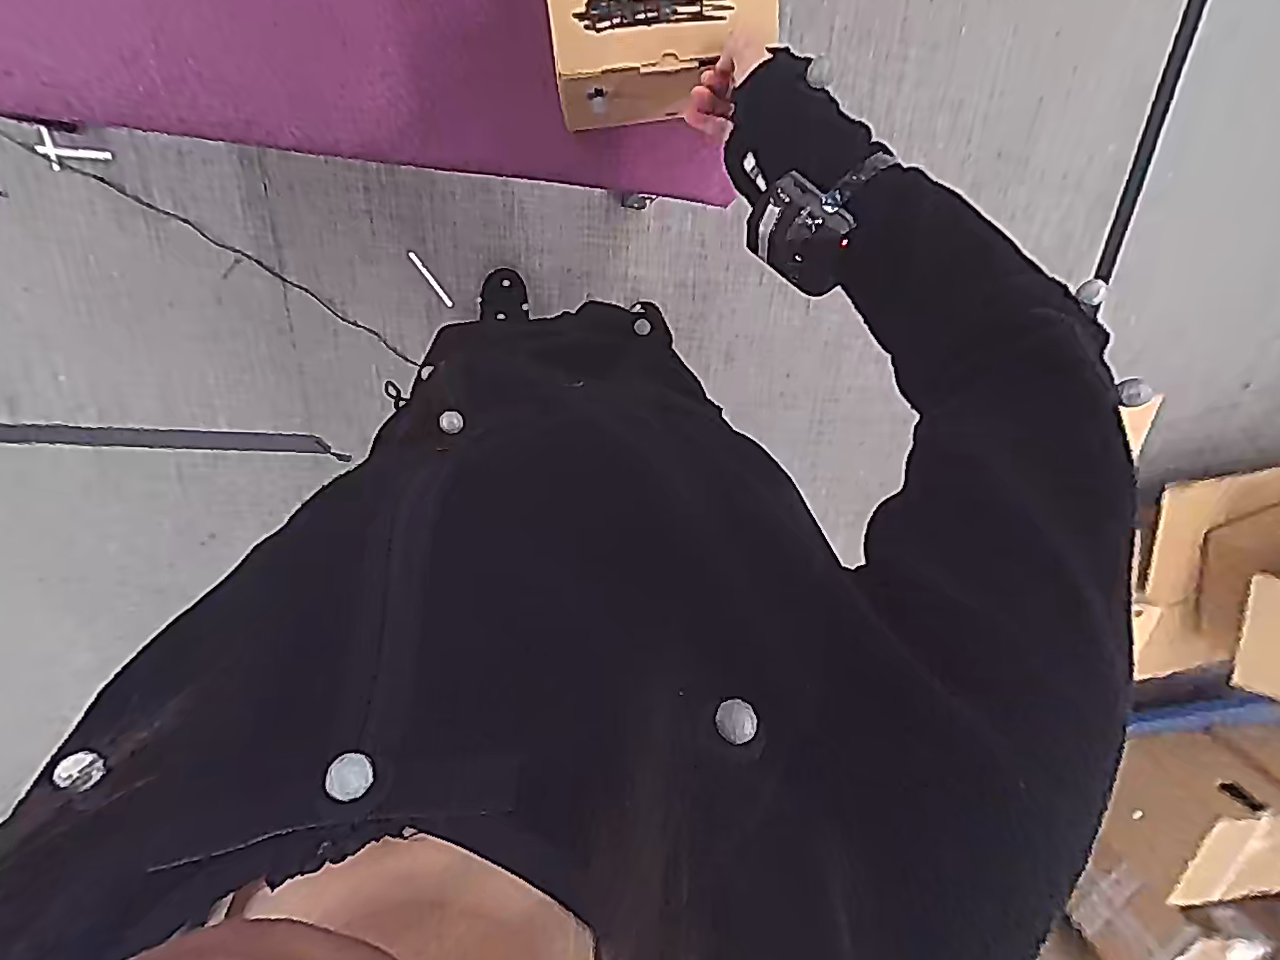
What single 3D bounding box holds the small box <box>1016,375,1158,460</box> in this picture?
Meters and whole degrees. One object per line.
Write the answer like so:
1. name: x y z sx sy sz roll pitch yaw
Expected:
1. small box: 1.063 -0.155 1.305 0.179 0.176 0.168 1 113 -9
